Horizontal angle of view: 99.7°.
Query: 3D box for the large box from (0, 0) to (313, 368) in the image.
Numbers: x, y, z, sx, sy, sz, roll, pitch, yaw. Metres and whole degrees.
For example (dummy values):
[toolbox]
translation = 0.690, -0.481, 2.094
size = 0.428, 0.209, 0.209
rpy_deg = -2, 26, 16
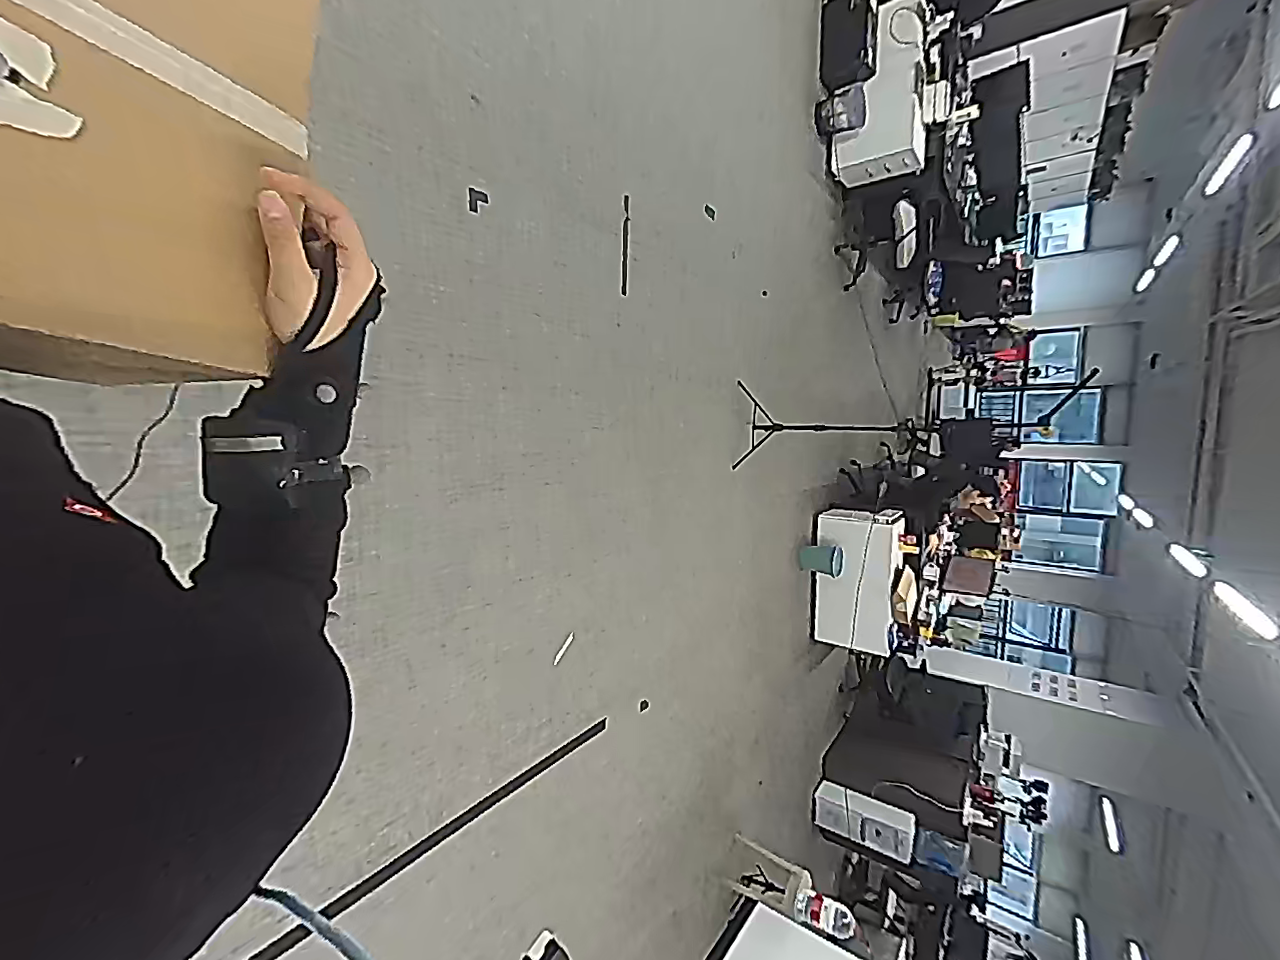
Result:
[large box]
translation = -0.459, -0.253, 0.268
size = 0.408, 0.320, 0.320
rpy_deg = 6, 90, -61
